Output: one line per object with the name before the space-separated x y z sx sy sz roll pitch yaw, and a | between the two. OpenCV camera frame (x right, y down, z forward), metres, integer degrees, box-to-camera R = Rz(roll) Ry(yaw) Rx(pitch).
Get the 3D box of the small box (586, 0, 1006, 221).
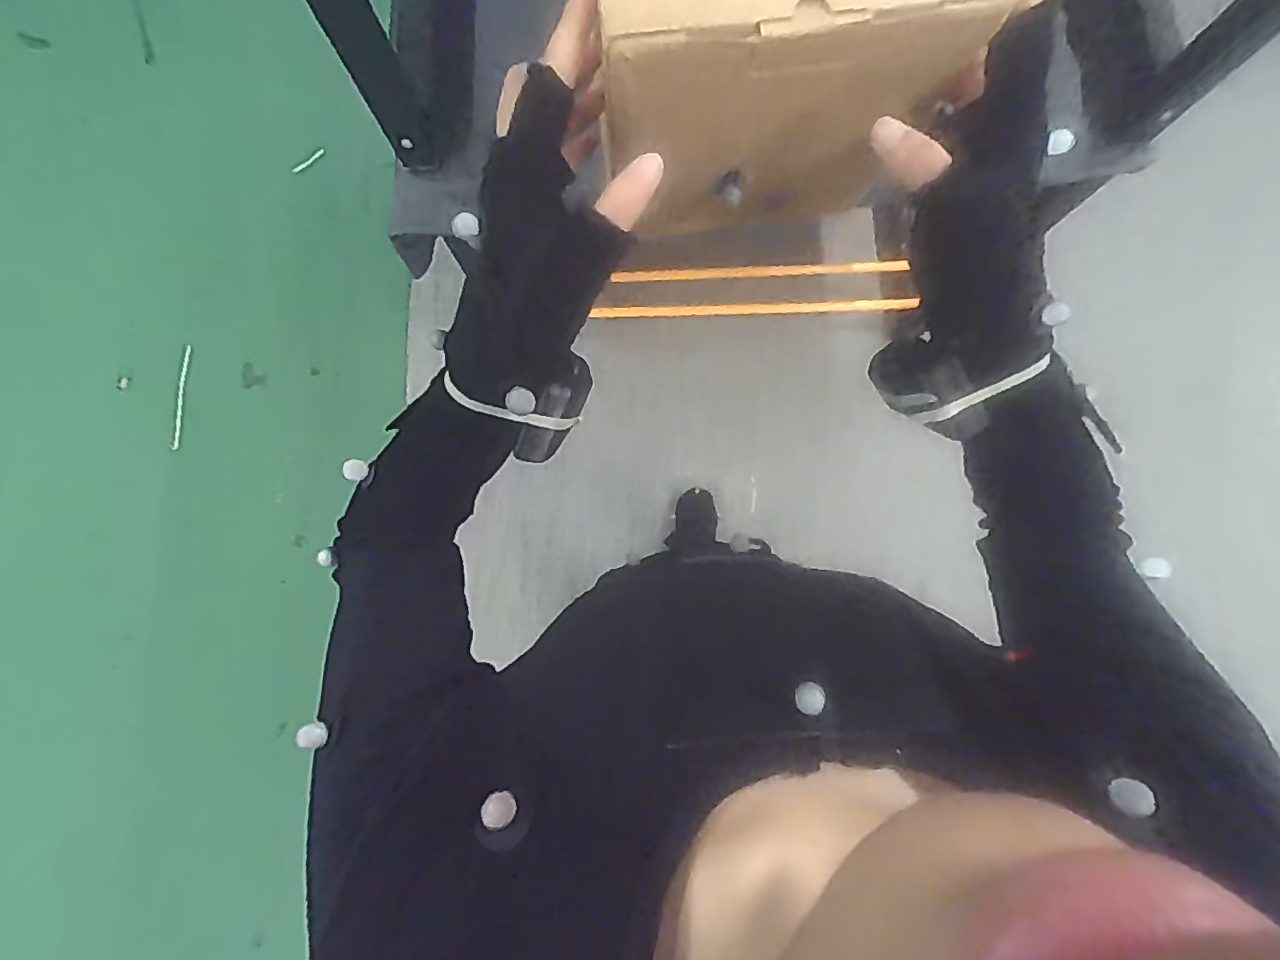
small box | 0.055 -0.267 0.283 0.168 0.176 0.179 -7 91 -1
